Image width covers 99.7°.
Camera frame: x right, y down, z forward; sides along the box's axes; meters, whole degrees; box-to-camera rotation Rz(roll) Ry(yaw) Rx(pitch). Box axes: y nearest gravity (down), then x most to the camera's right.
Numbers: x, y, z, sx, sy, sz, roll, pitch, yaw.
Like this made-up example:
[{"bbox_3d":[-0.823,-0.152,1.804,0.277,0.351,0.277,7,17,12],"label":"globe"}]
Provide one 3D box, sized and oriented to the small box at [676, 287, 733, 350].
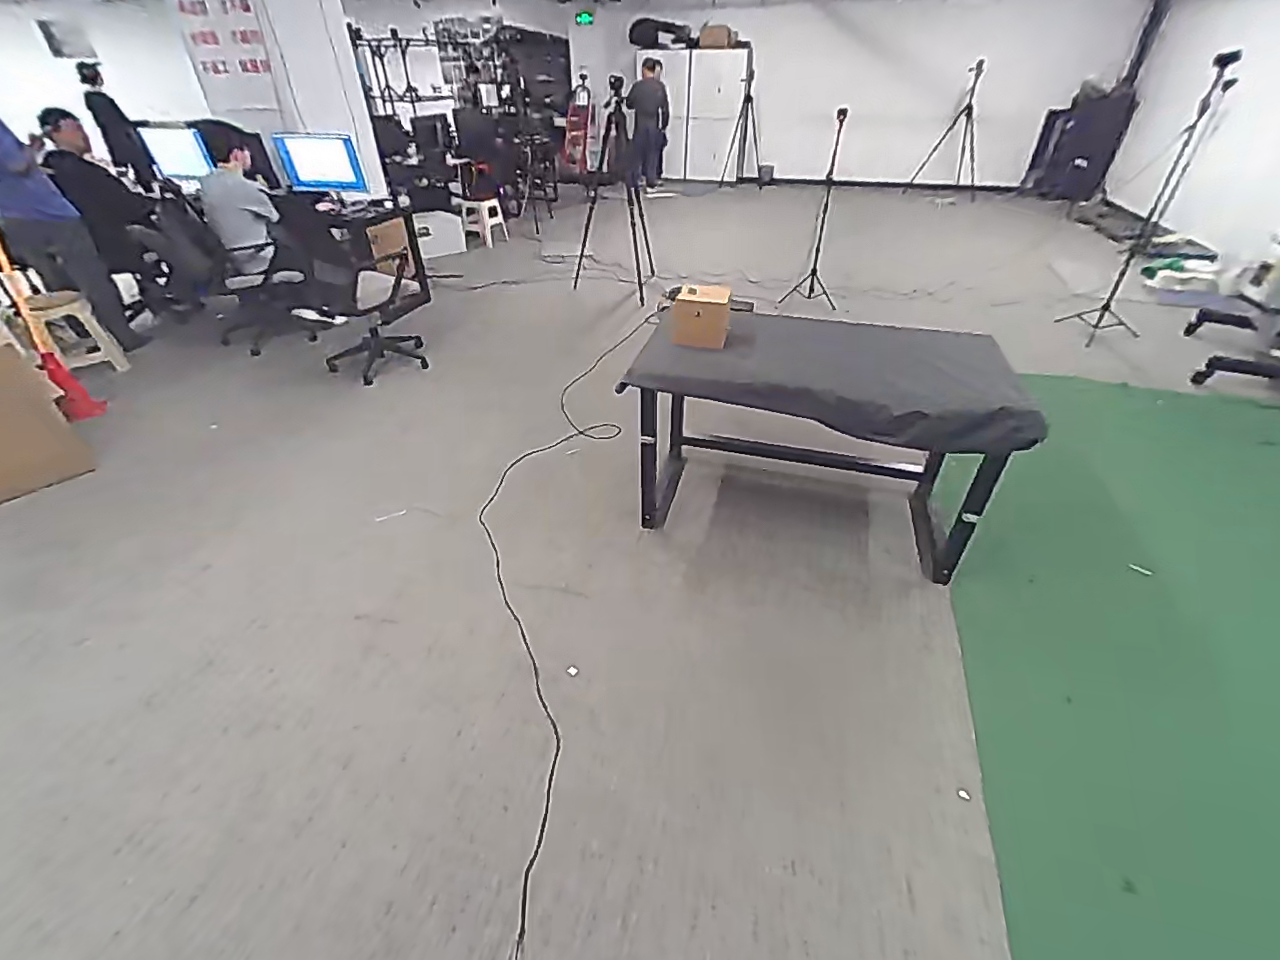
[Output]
[{"bbox_3d":[0.228,-0.578,1.935,0.179,0.176,0.168,9,38,11],"label":"small box"}]
